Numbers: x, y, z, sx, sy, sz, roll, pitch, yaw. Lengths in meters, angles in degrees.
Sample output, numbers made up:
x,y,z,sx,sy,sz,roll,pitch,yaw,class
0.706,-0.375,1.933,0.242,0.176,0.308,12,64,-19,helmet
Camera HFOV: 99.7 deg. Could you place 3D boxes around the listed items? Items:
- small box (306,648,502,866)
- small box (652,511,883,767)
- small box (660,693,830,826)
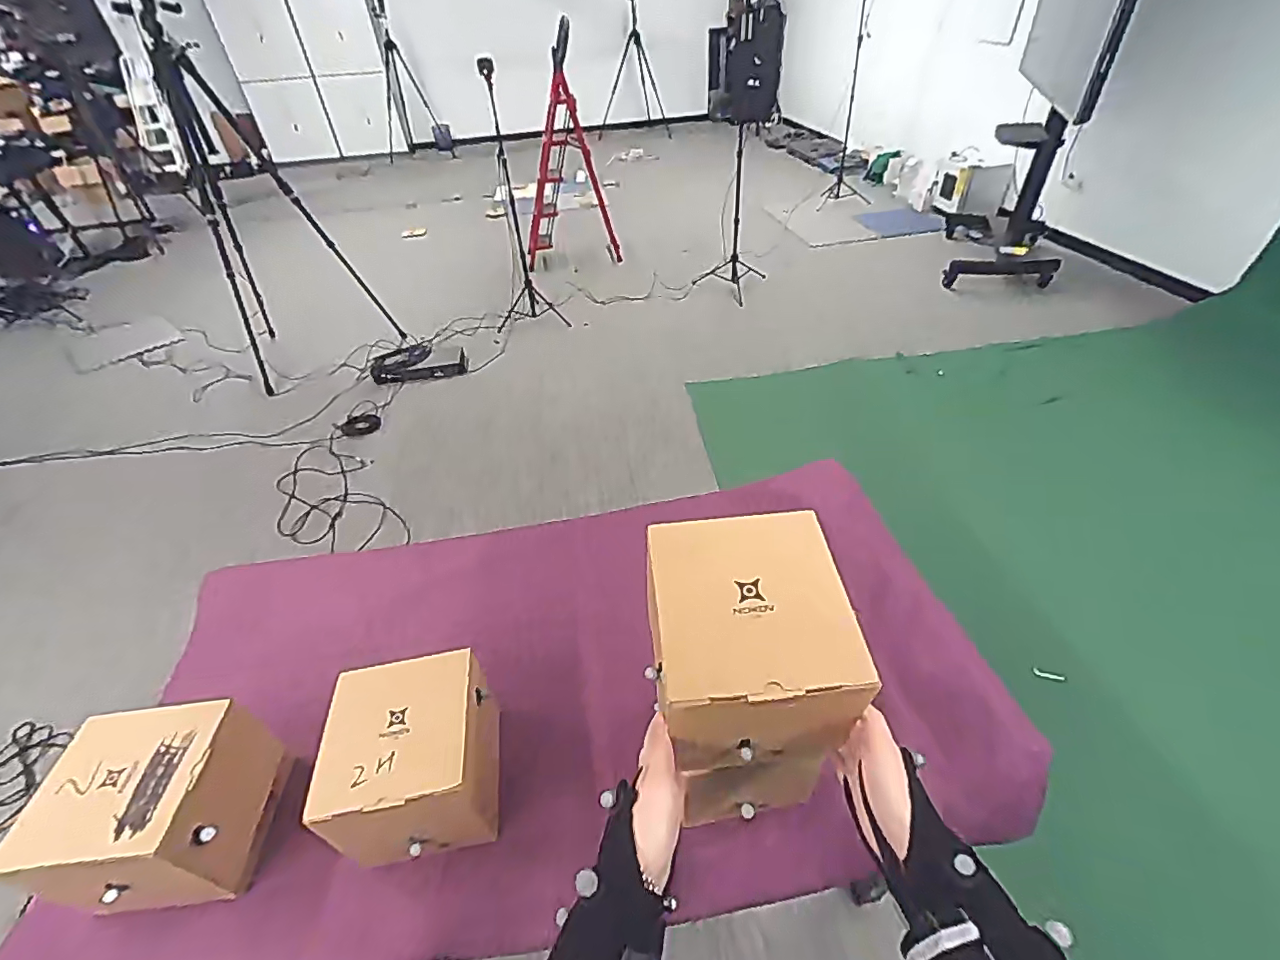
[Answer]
x,y,z,sx,sy,sz,roll,pitch,yaw,class
-0.276,0.345,0.679,0.168,0.176,0.179,-11,41,-6,small box
0.100,0.153,0.522,0.168,0.176,0.179,-5,48,-2,small box
0.118,0.307,0.693,0.168,0.176,0.179,-9,42,-5,small box
